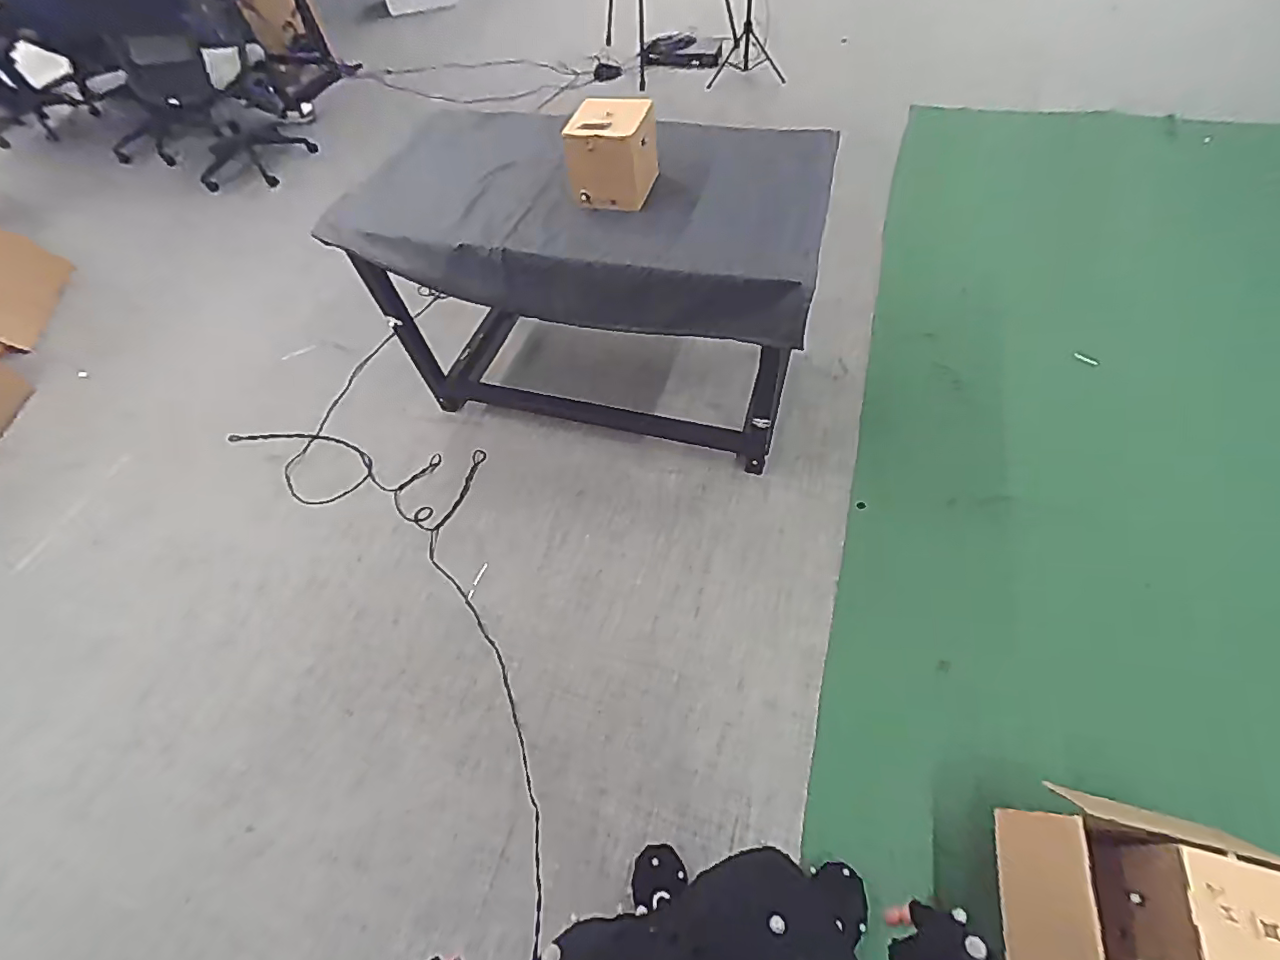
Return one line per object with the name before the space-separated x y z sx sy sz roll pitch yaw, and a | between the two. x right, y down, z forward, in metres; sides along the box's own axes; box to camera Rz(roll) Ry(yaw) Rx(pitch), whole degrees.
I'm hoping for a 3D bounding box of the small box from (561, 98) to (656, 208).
small box | -0.064 -0.764 1.266 0.168 0.176 0.179 11 58 14
